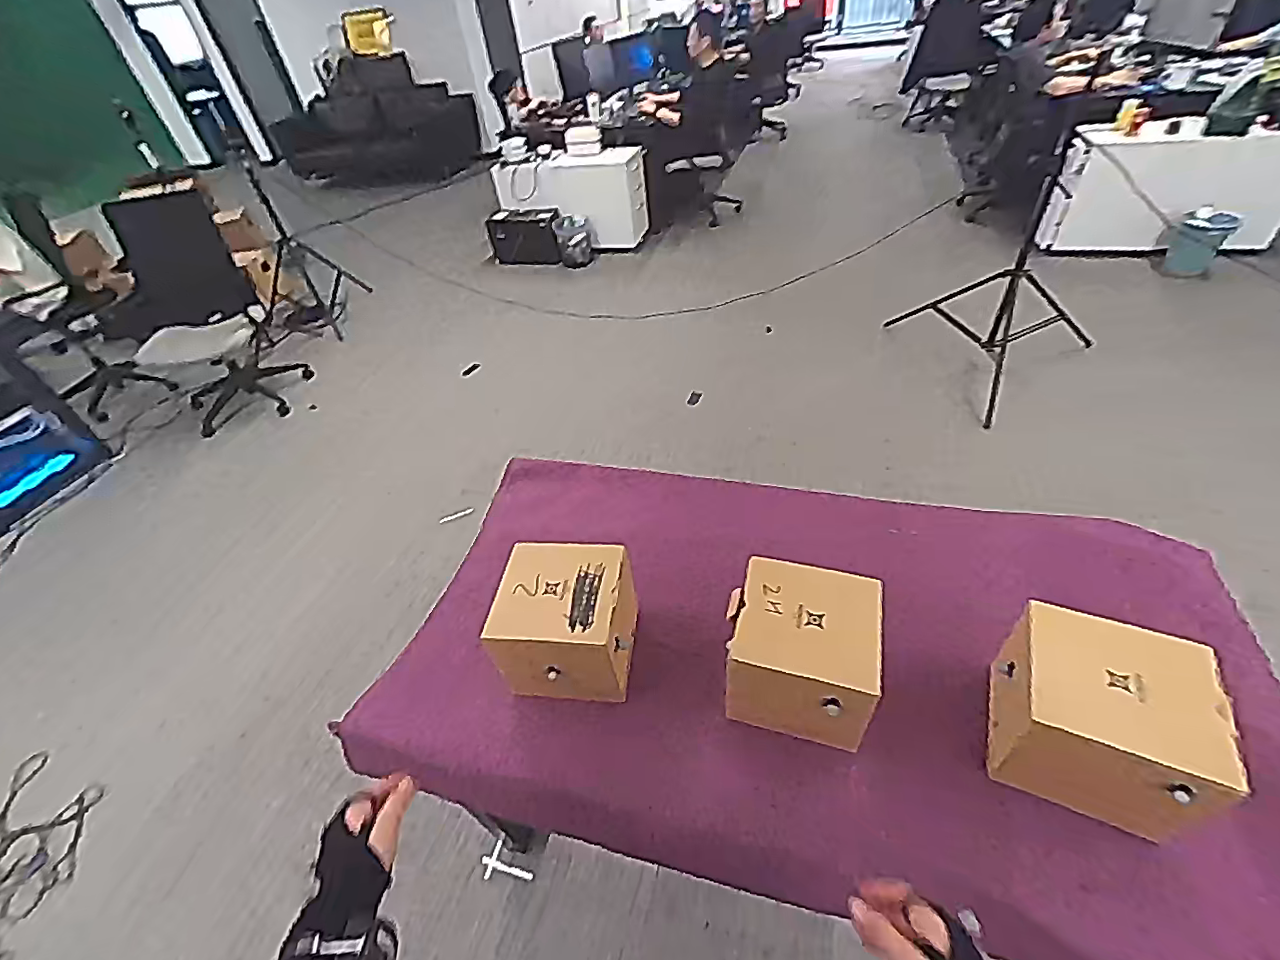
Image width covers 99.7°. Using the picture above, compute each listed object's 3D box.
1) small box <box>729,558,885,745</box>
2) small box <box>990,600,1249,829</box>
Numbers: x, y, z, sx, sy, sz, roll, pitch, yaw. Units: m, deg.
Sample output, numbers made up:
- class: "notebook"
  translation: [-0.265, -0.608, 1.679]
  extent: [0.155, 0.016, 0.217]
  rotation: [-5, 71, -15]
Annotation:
- class: "small box"
  translation: [0.224, 0.235, 0.739]
  extent: [0.179, 0.176, 0.168]
  rotation: [8, 44, 17]
- class: "small box"
  translation: [0.537, 0.277, 0.642]
  extent: [0.179, 0.176, 0.168]
  rotation: [14, 47, 23]
